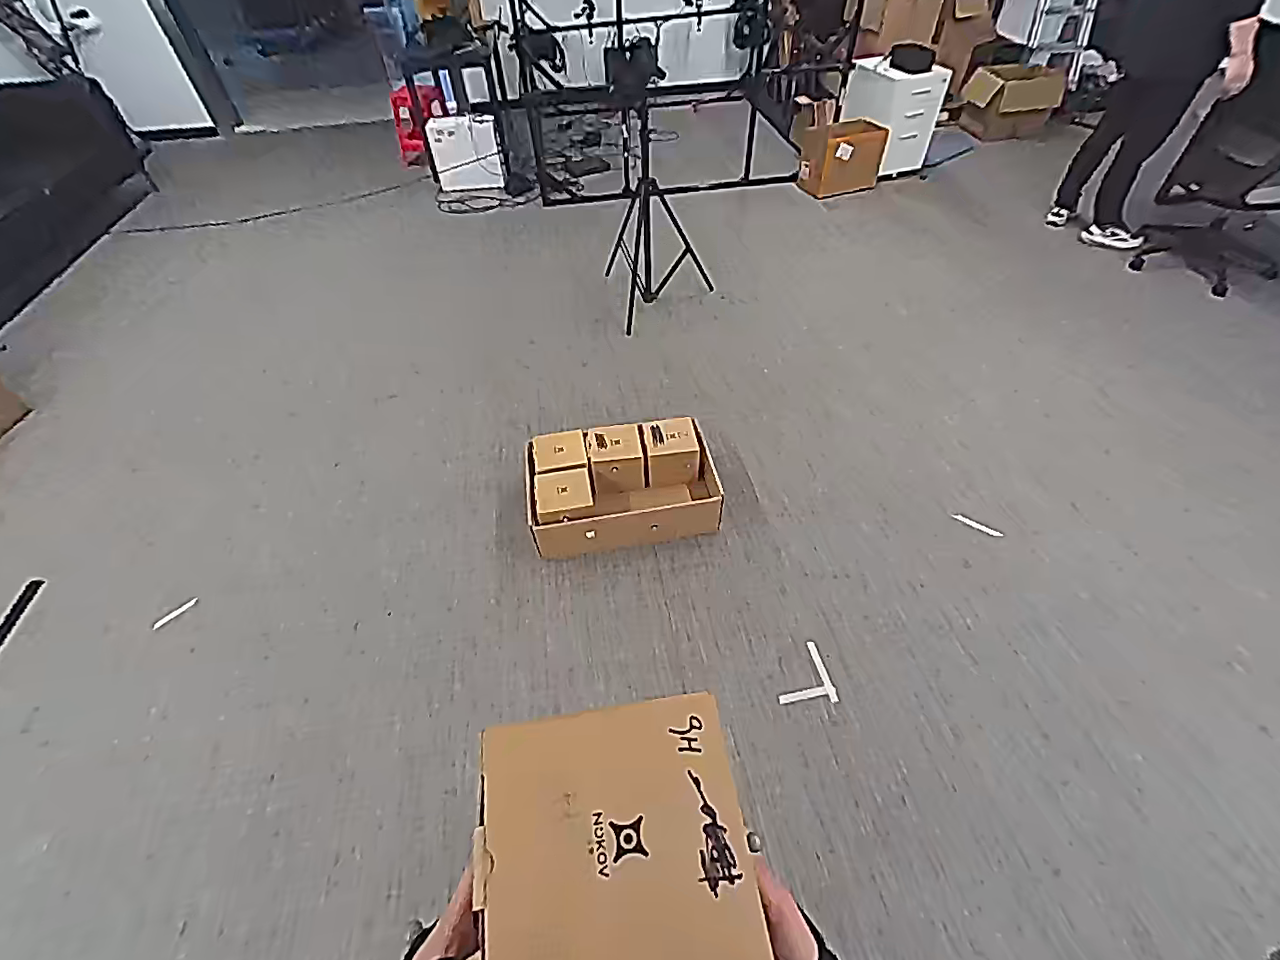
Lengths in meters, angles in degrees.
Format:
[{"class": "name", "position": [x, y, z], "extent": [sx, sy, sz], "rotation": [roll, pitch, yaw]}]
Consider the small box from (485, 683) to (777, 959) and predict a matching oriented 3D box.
[{"class": "small box", "position": [-0.015, 0.274, 0.425], "extent": [0.179, 0.176, 0.168], "rotation": [-7, 58, -7]}]
